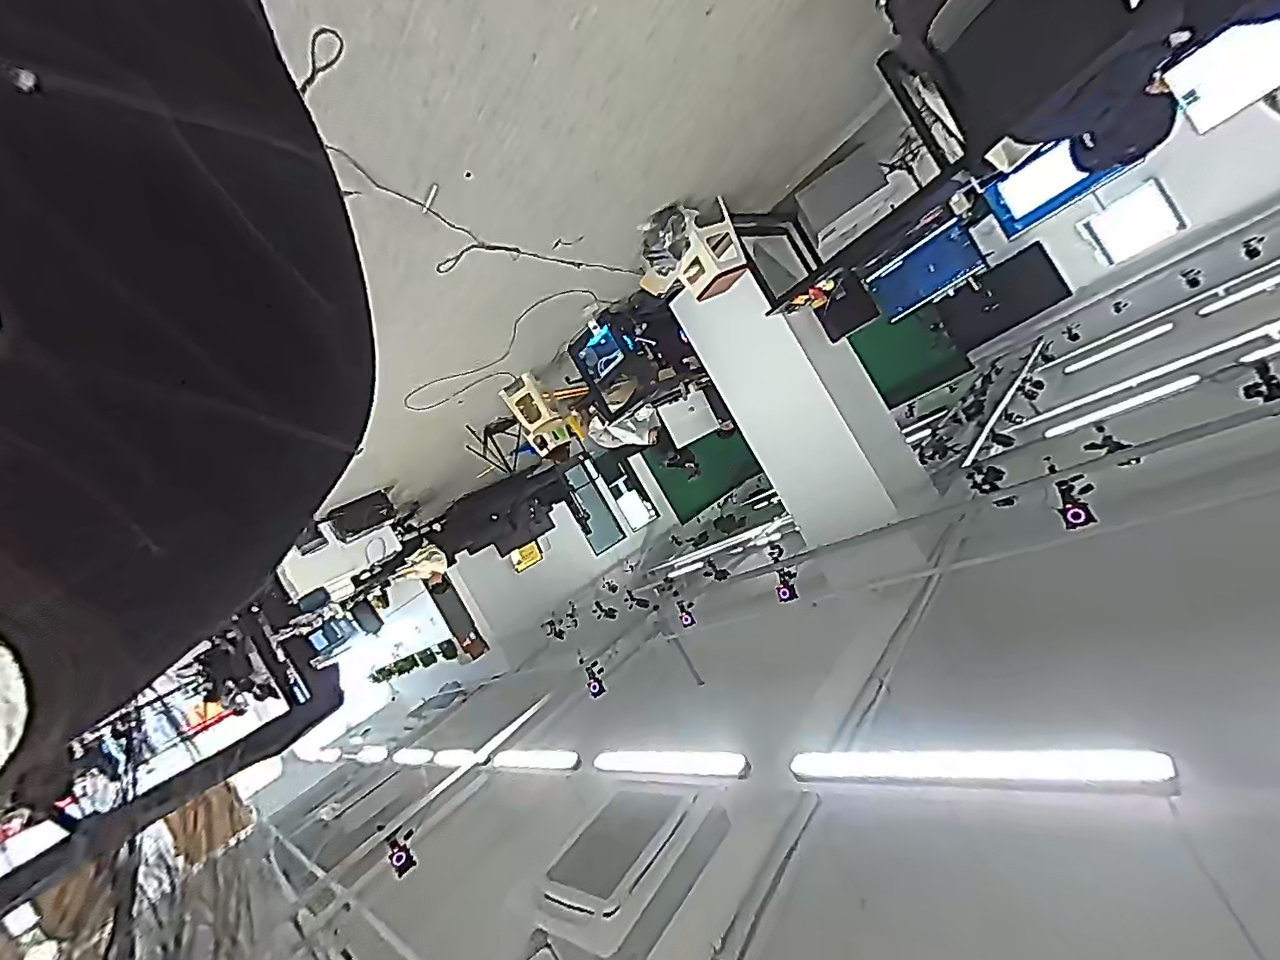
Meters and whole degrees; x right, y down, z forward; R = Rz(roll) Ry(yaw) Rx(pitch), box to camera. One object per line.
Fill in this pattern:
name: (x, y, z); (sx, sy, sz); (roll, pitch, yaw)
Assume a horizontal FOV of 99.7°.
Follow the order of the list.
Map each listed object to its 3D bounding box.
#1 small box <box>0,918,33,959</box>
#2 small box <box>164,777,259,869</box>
small box: (-1.569, 1.179, 1.266); (0.179, 0.176, 0.168); (-30, -179, 44)
small box: (-1.288, 1.018, 1.622); (0.179, 0.176, 0.168); (-29, 180, 42)
